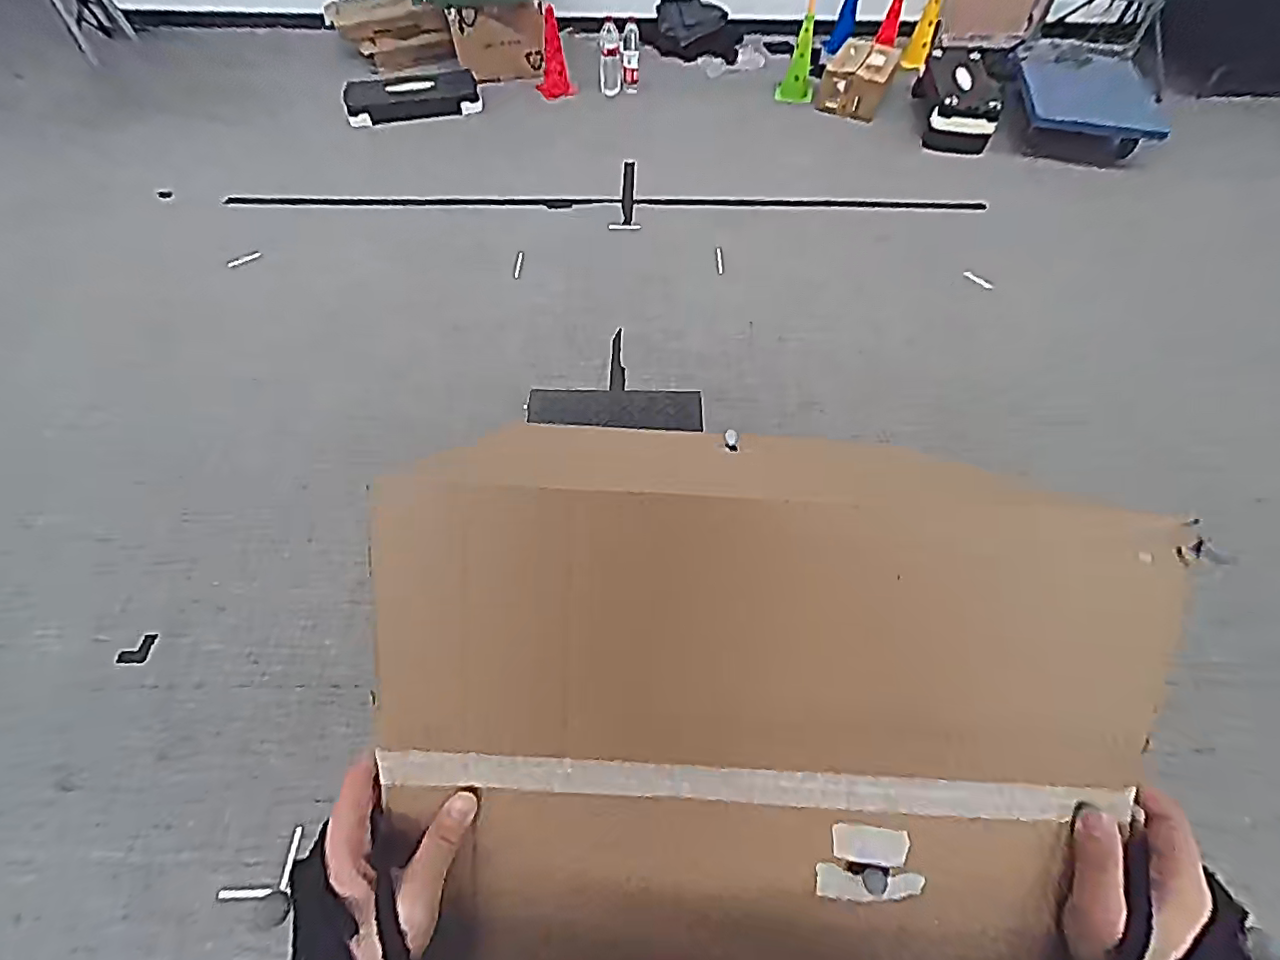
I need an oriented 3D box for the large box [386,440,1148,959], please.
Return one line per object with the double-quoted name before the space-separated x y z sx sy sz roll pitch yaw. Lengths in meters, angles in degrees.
"large box" 0.061 0.136 0.452 0.408 0.320 0.320 2 102 -1
